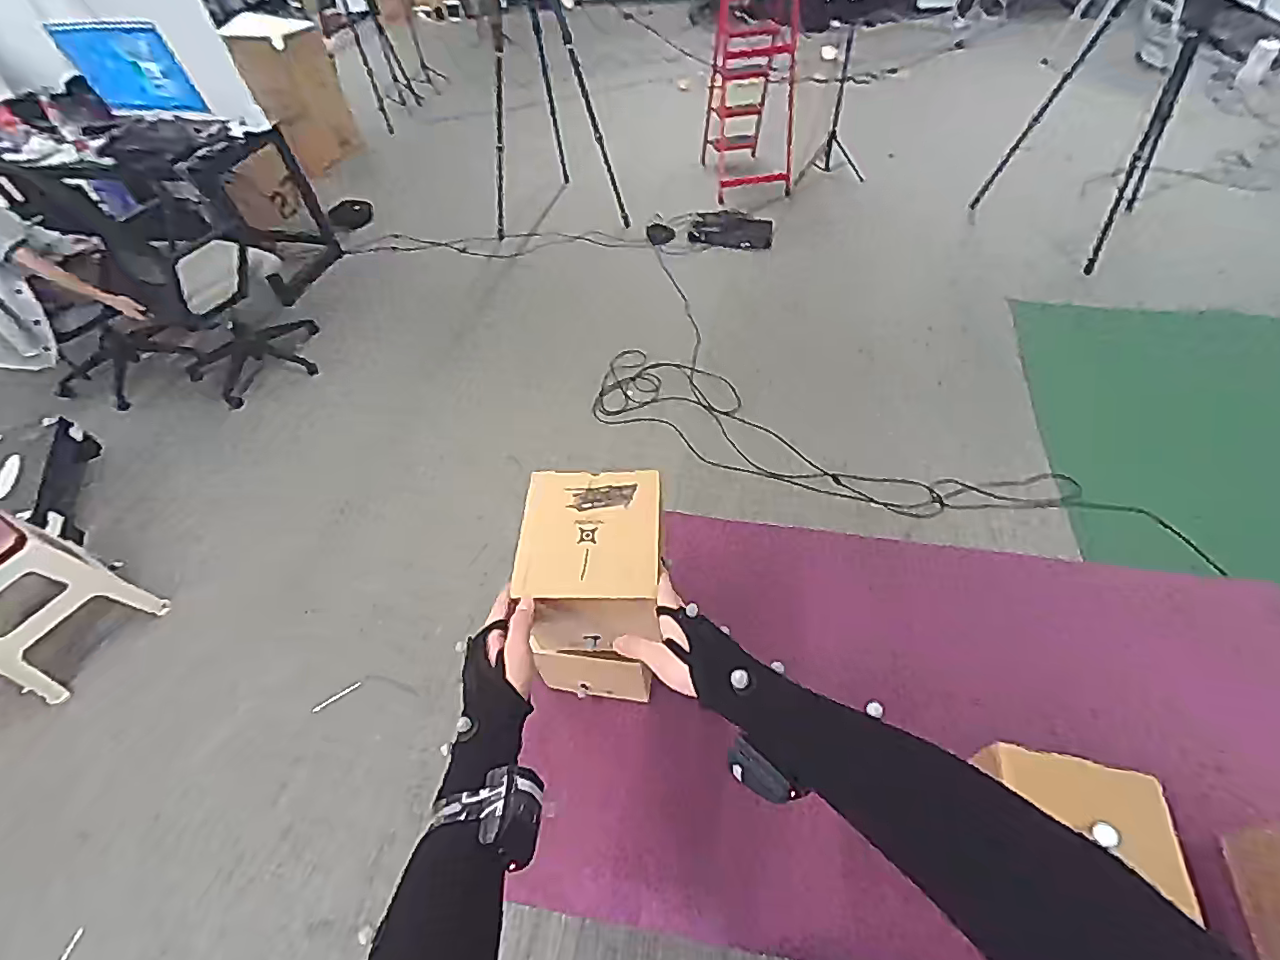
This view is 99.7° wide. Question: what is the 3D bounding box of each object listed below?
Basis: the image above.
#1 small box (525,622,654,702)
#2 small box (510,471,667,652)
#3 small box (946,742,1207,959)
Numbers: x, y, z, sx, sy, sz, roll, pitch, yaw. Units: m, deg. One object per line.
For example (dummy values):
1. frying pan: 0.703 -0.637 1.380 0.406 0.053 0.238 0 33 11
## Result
1. small box: -0.063 0.227 0.854 0.168 0.176 0.179 4 52 9
2. small box: -0.053 0.106 0.694 0.168 0.176 0.179 -1 55 5
3. small box: 0.479 0.438 0.631 0.168 0.176 0.179 8 50 12
